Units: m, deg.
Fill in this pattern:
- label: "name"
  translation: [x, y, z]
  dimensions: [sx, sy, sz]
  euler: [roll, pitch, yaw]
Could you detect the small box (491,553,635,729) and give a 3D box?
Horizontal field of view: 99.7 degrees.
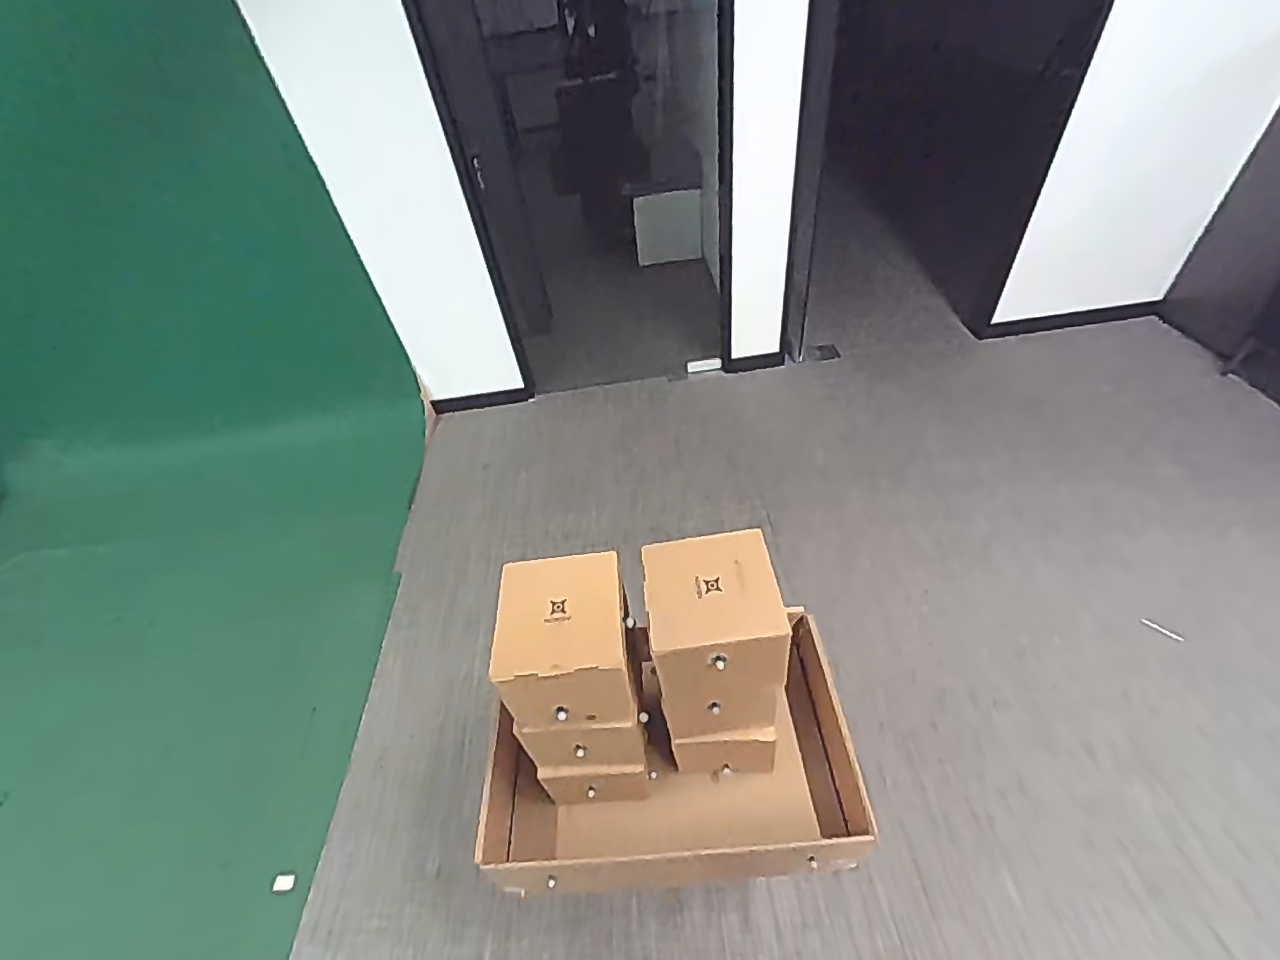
- label: "small box"
  translation: [-0.099, 0.229, 0.769]
  dimensions: [0.168, 0.176, 0.179]
  euler: [-7, 45, 1]
